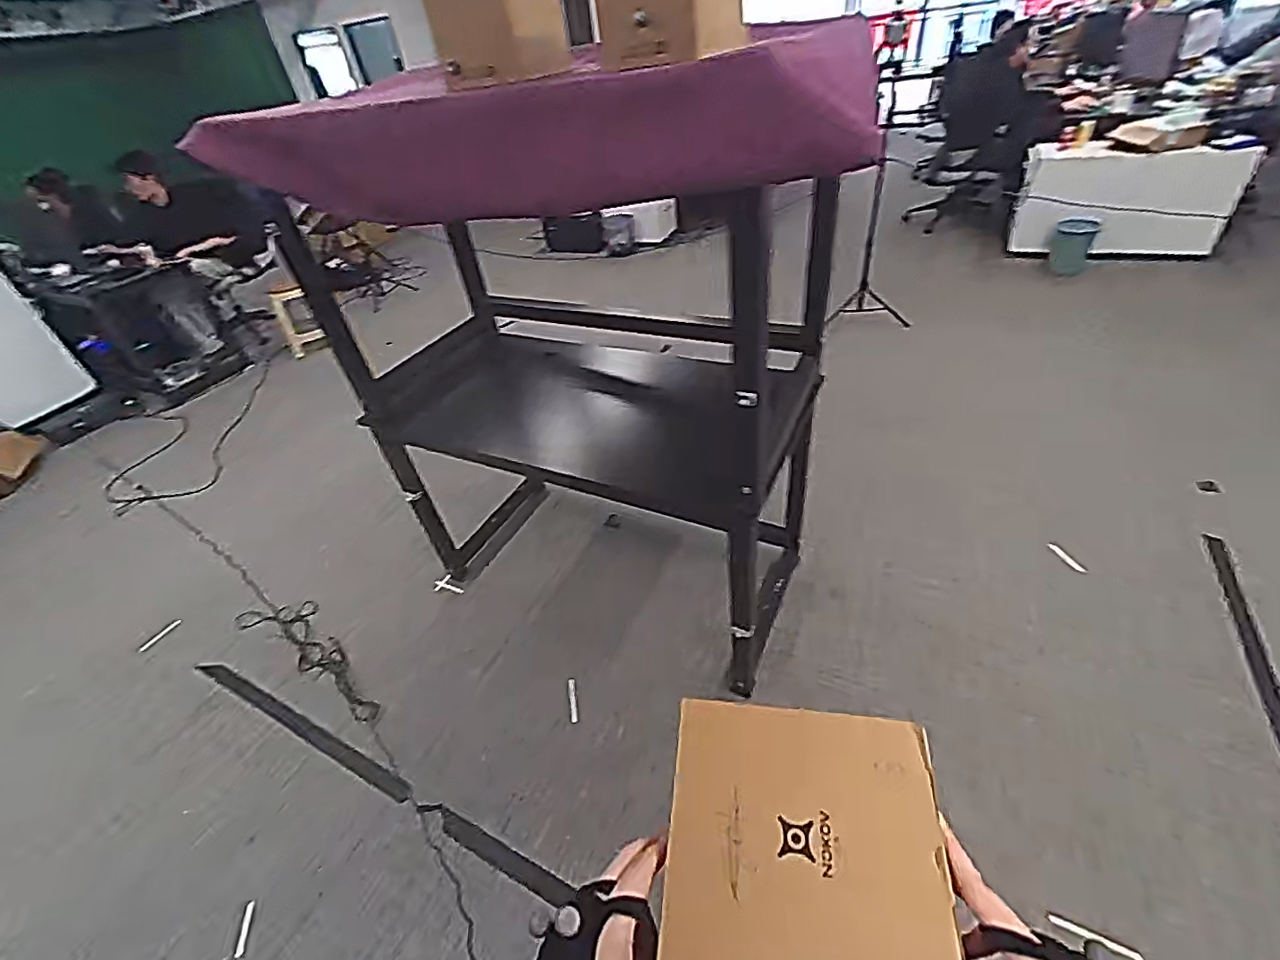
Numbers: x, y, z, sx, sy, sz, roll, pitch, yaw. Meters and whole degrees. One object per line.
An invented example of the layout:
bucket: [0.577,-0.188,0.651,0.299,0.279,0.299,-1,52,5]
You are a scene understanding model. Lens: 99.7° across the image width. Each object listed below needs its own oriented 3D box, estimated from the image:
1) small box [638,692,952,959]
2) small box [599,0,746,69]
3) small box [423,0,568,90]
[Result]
small box: [0.106,0.278,0.404,0.179,0.176,0.168,0,49,12]
small box: [0.046,-0.699,0.766,0.168,0.176,0.179,16,45,28]
small box: [-0.239,-0.777,0.917,0.168,0.176,0.179,10,42,21]
